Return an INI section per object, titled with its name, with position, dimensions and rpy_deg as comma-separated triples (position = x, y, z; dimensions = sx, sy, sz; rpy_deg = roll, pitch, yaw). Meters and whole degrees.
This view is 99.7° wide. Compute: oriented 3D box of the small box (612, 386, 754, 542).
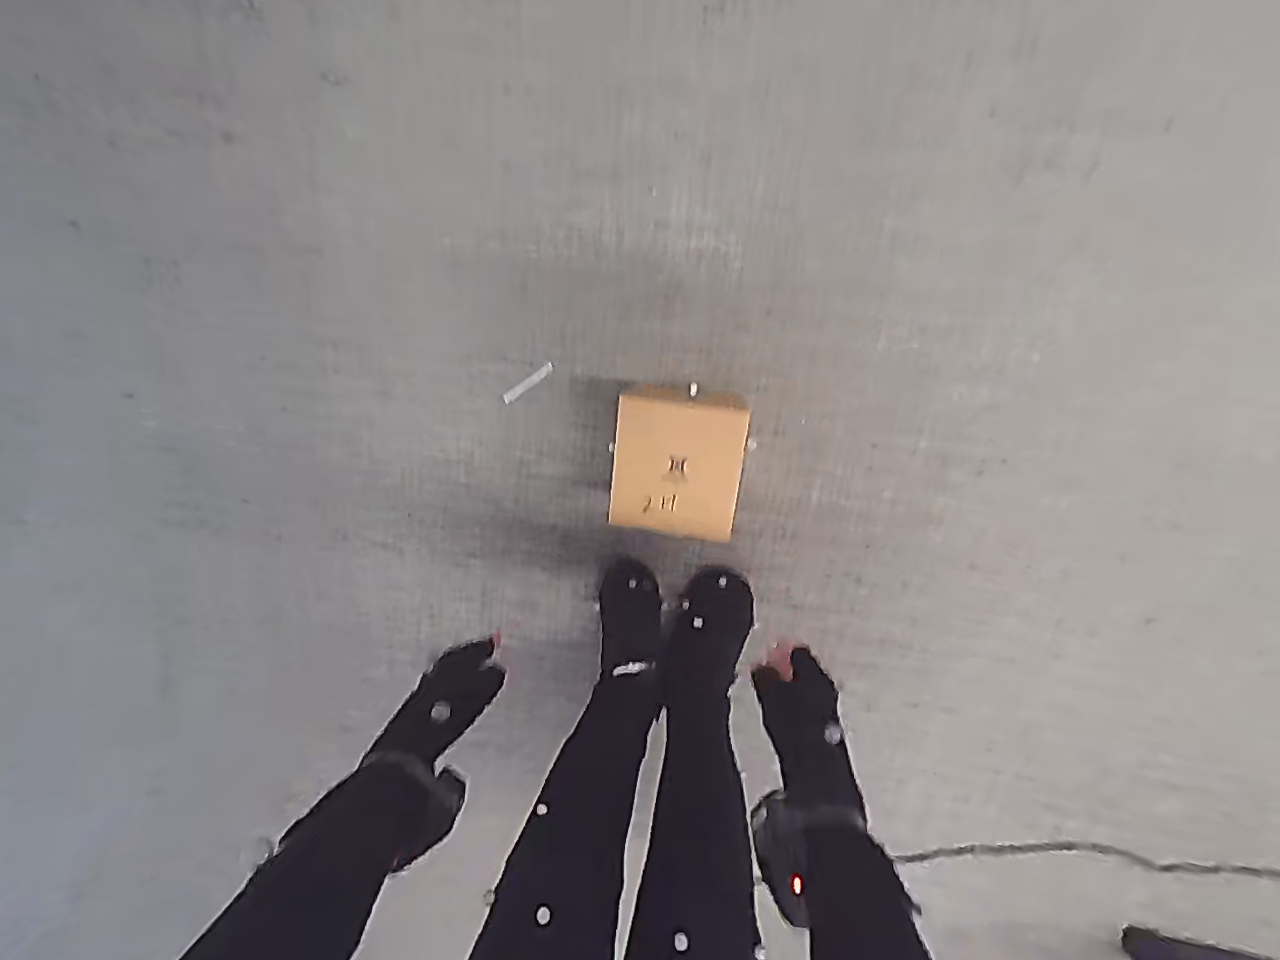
[small box]
position = 0.062, -0.034, 0.771
dimensions = 0.168, 0.176, 0.179
rpy_deg = 8, 108, 6
